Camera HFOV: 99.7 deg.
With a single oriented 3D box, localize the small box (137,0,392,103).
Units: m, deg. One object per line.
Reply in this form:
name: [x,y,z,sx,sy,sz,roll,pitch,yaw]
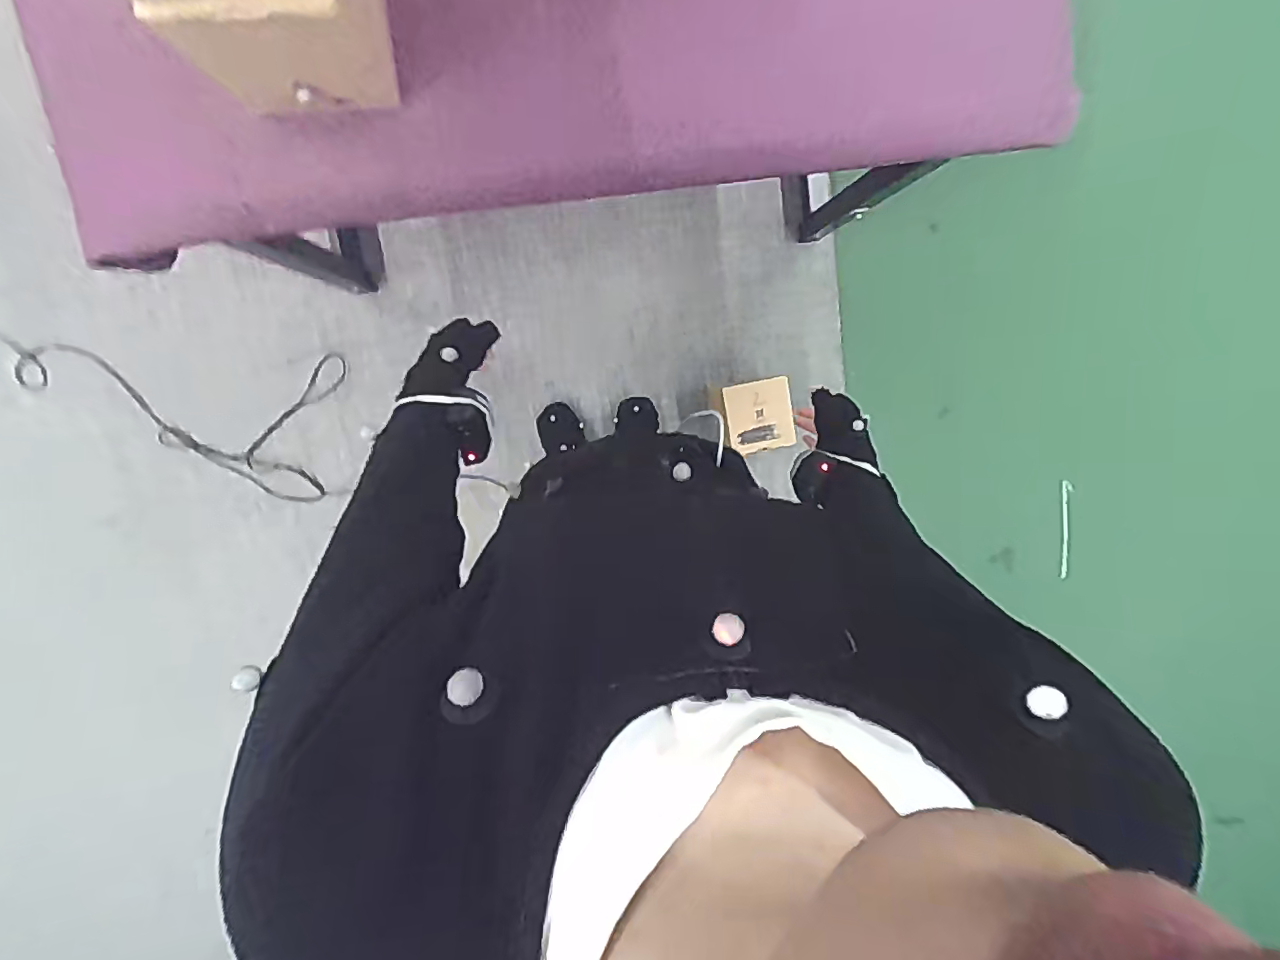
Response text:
small box: [-0.360,-0.503,0.523,0.168,0.176,0.179,-5,101,-6]
